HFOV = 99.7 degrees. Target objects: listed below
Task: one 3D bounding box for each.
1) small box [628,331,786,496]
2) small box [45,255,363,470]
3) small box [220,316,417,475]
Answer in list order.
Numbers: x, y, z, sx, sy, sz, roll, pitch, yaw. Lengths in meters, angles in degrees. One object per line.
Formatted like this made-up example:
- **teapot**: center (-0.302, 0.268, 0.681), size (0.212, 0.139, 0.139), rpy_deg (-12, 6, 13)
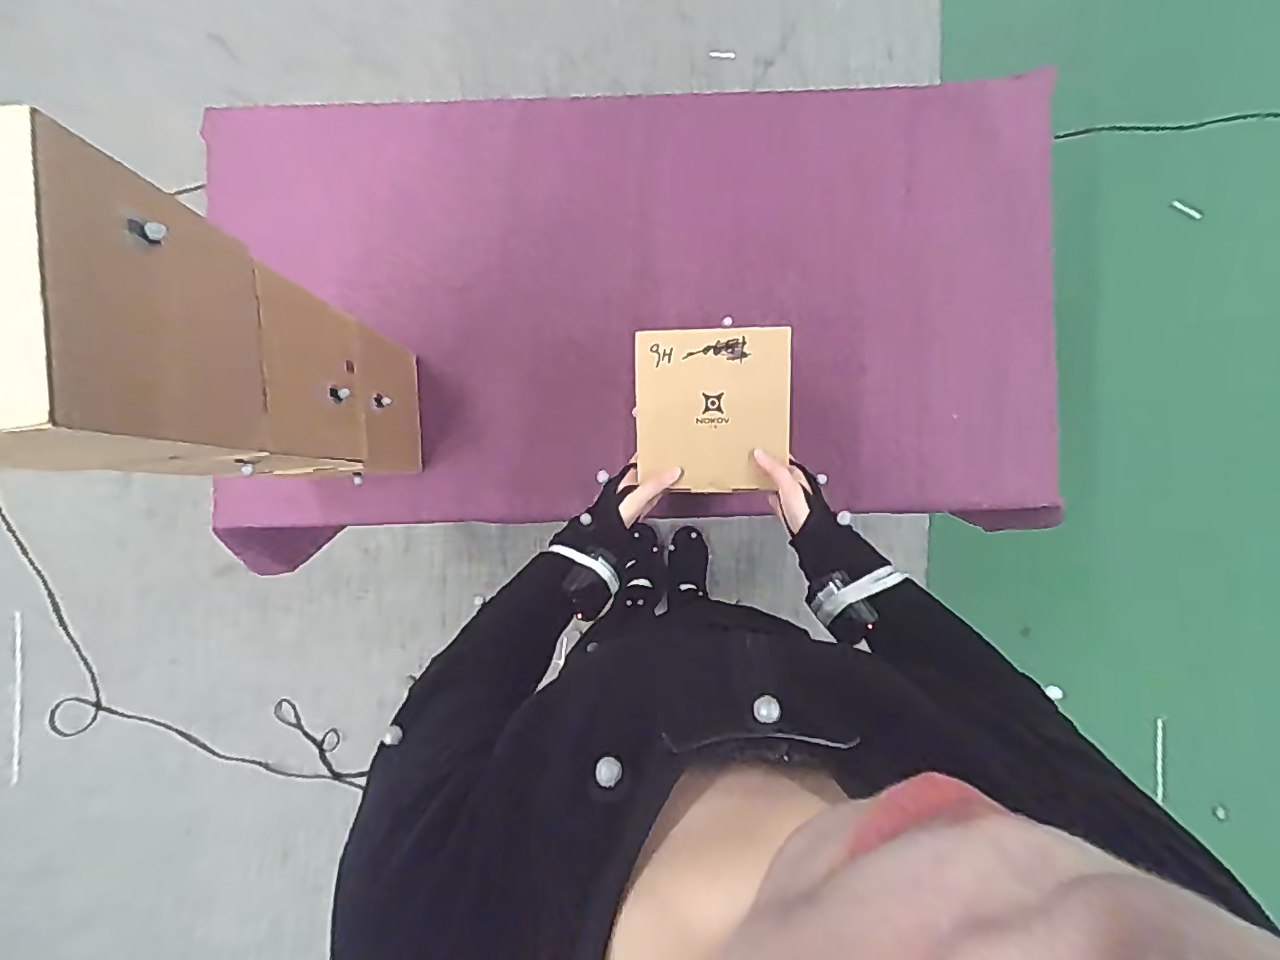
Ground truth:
- **small box**: center (0.077, -0.083, 0.660), size (0.168, 0.176, 0.179), rpy_deg (1, 99, 5)
- **small box**: center (-0.402, -0.099, 0.528), size (0.179, 0.176, 0.168), rpy_deg (-5, 90, -2)
- **small box**: center (-0.399, -0.096, 0.690), size (0.168, 0.176, 0.179), rpy_deg (-3, 89, -1)
